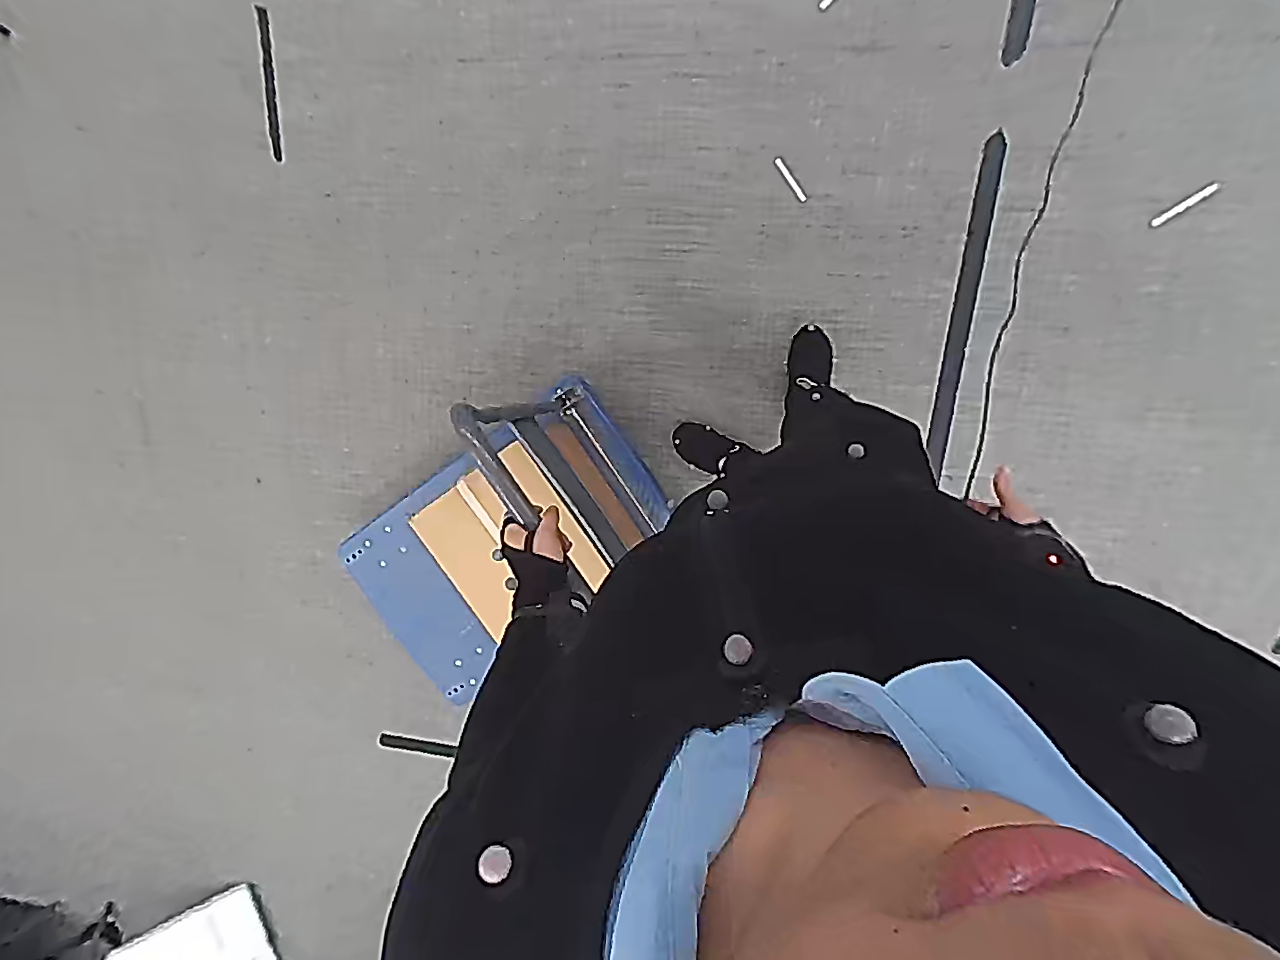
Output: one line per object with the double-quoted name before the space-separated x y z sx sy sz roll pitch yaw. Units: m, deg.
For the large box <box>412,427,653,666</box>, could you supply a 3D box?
"large box" -0.222 0.135 1.256 0.320 0.320 0.408 -34 94 14
